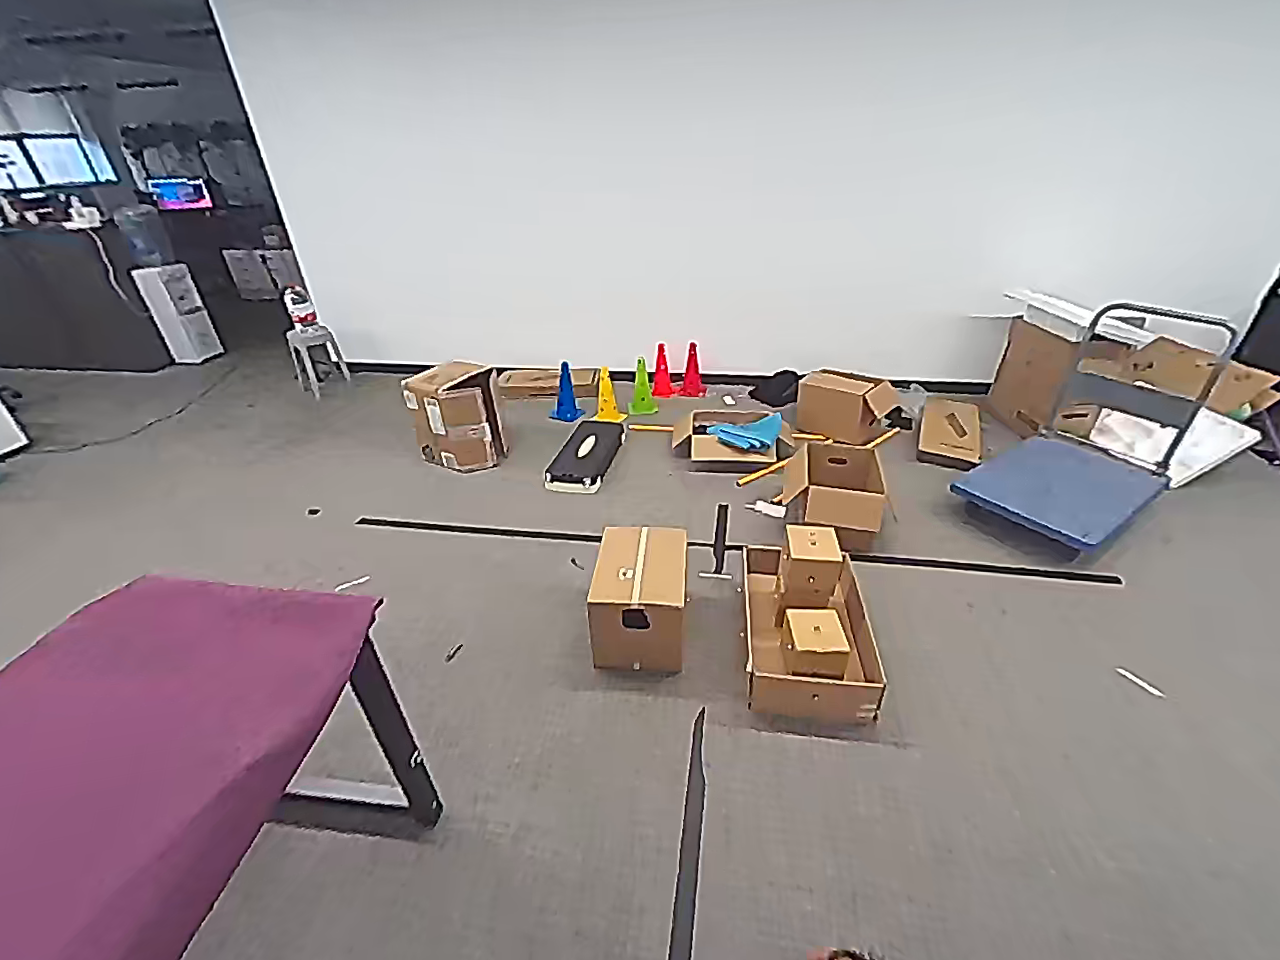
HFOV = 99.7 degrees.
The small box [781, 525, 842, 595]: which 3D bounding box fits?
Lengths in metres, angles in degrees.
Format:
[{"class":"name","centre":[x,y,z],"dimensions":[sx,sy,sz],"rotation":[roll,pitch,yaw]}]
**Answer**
[{"class":"small box","centre":[0.586,0.277,1.865],"dimensions":[0.168,0.176,0.179],"rotation":[4,34,6]}]

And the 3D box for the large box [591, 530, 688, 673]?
[{"class":"large box","centre":[0.012,0.422,1.936],"dimensions":[0.320,0.320,0.408],"rotation":[0,33,5]}]
